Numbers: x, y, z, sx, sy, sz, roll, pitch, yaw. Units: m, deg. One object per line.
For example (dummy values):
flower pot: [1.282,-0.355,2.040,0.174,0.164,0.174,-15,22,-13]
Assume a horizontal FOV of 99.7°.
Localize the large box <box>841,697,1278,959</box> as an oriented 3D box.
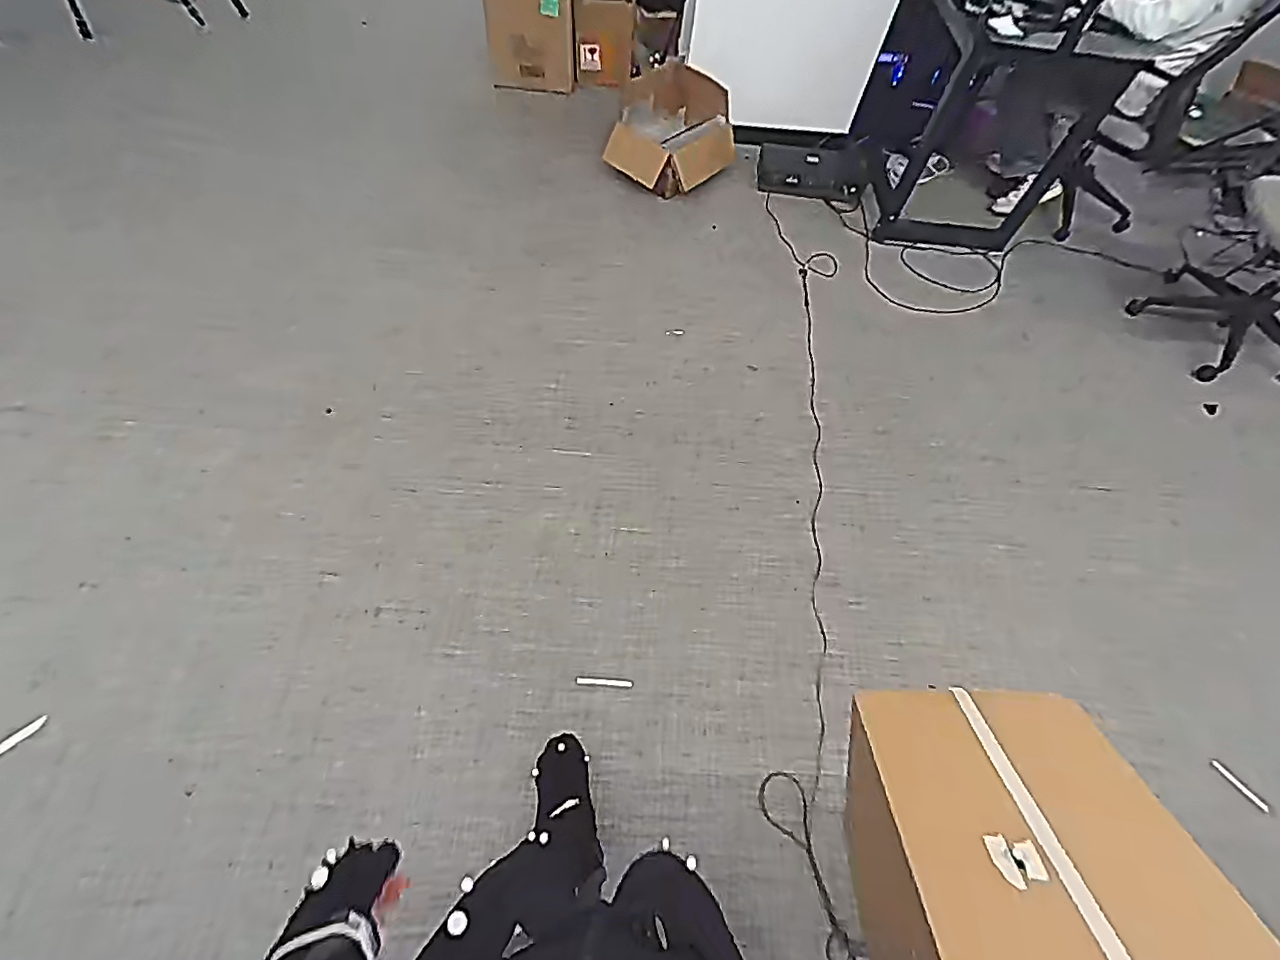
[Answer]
large box: [0.473,0.550,0.697,0.320,0.320,0.408,0,20,8]
